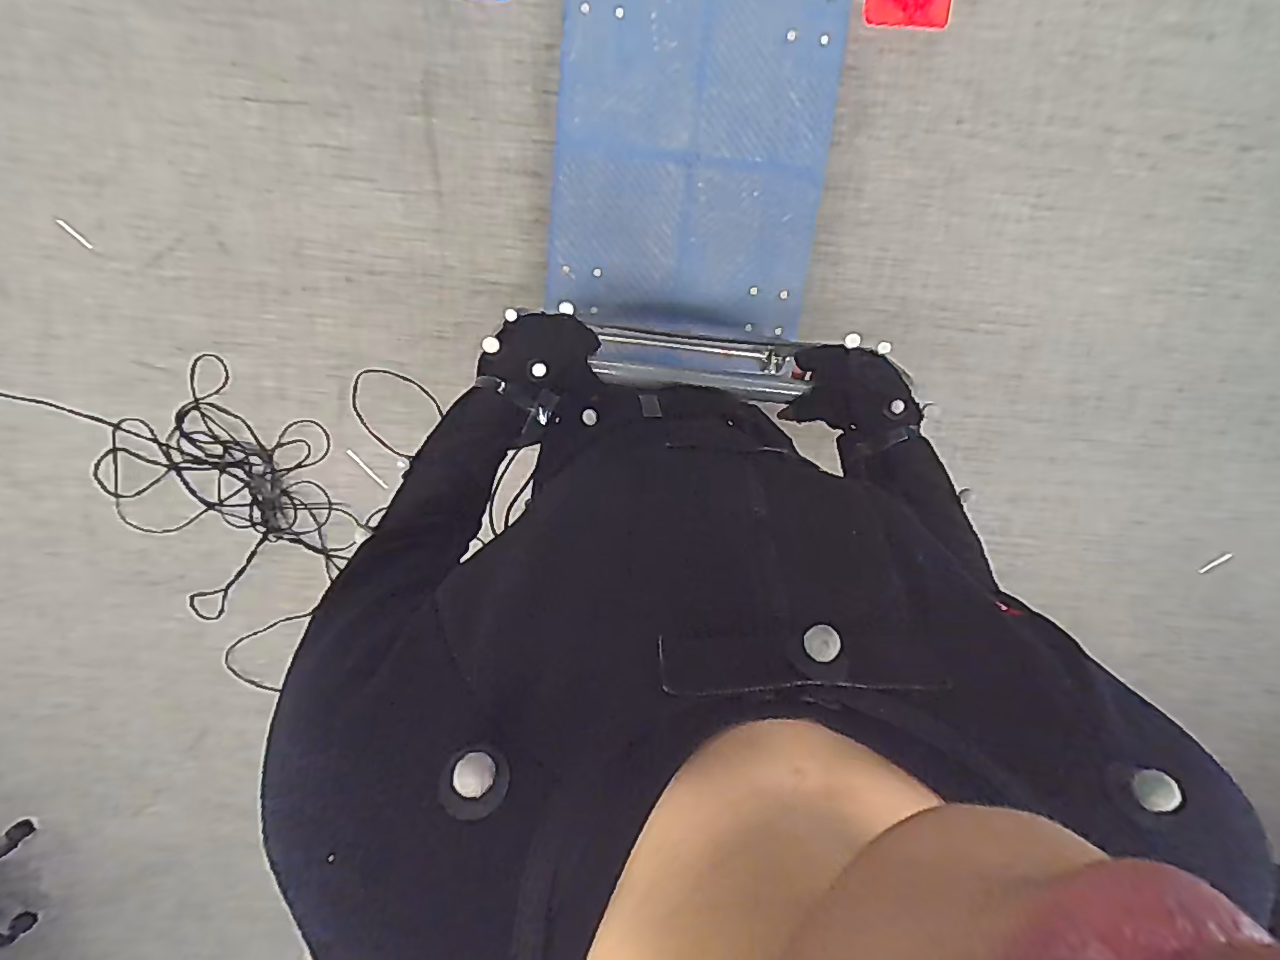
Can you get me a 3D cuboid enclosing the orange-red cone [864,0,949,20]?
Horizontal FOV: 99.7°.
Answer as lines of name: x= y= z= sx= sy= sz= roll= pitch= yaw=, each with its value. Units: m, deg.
orange-red cone: x=0.614 y=-1.127 z=1.061 sx=0.199 sy=0.360 sz=0.198 roll=5 pitch=102 yaw=0
